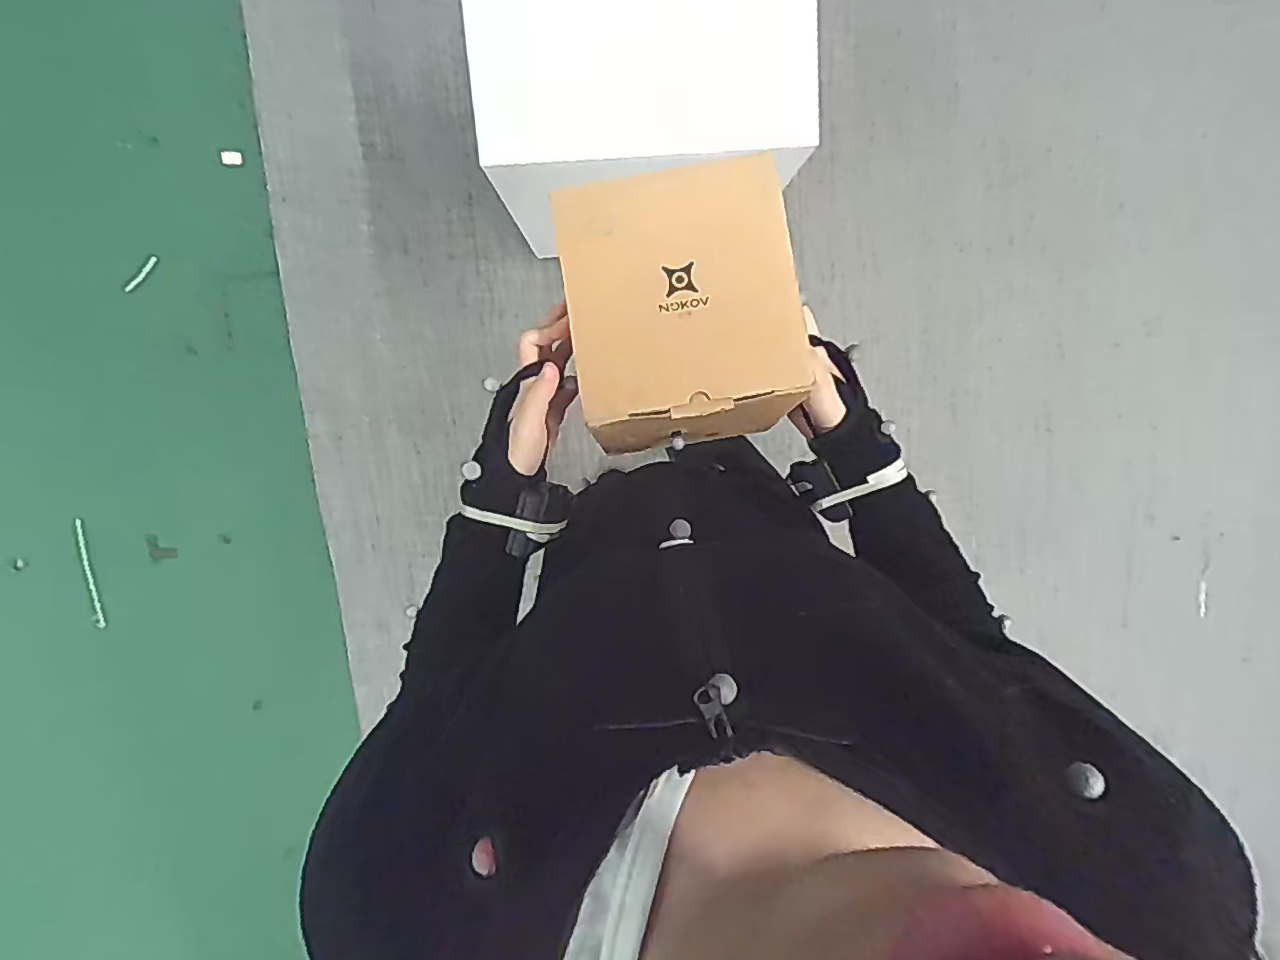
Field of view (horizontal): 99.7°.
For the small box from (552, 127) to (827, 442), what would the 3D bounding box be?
[{"bbox_3d":[0.033,-0.139,0.444,0.168,0.176,0.179,-10,85,2],"label":"small box"}]
